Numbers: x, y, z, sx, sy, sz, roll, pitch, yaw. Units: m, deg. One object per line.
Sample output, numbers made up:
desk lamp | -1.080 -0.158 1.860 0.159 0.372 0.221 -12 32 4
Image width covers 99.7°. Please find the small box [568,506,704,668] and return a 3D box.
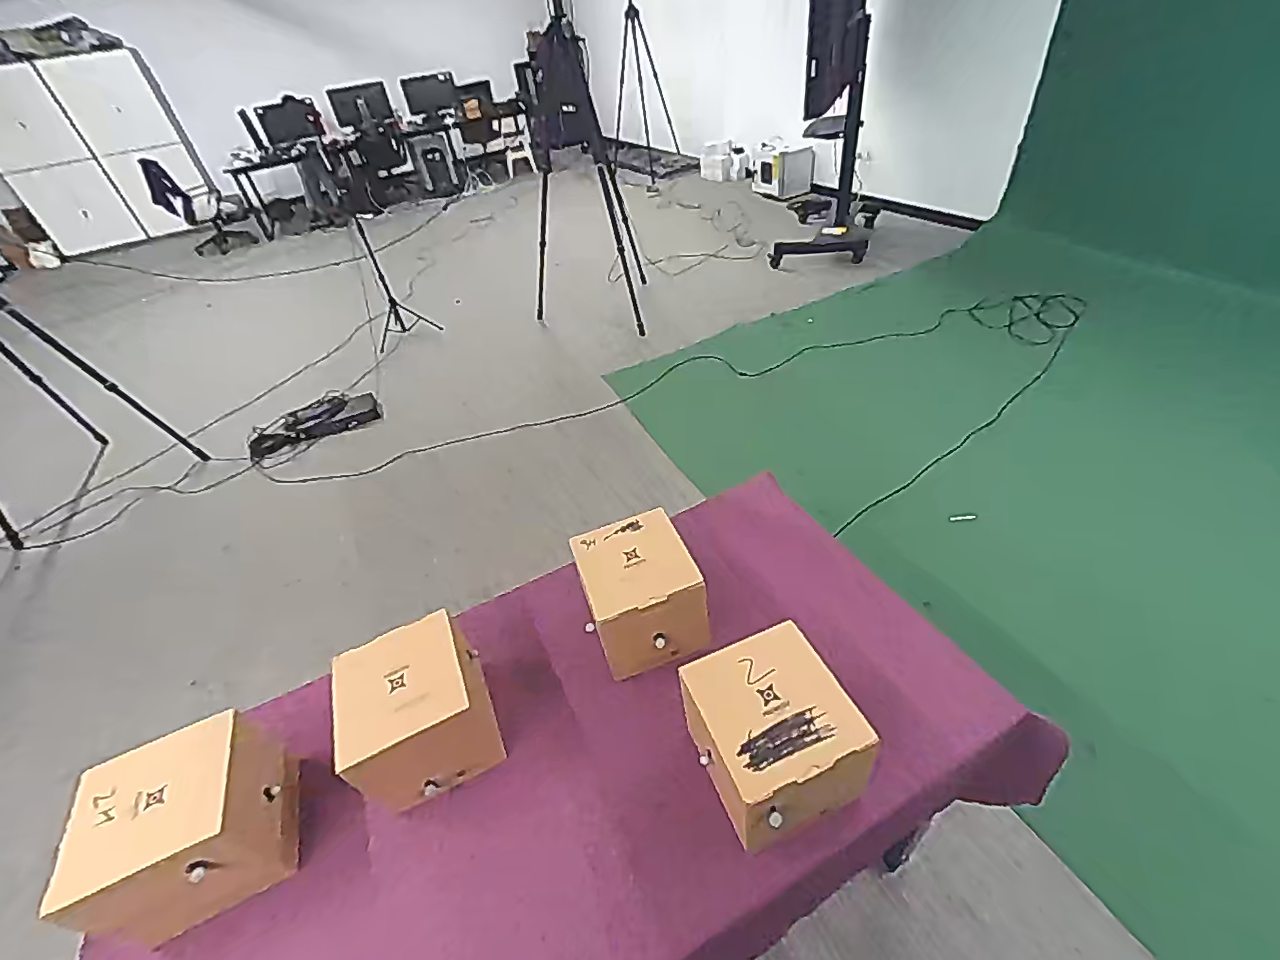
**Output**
small box | -0.003 0.179 0.878 0.168 0.176 0.179 -19 43 -10

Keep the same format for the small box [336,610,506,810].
small box | -0.311 0.328 0.777 0.168 0.176 0.179 -23 43 -14

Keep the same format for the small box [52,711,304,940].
small box | -0.563 0.442 0.697 0.179 0.176 0.168 -23 42 -14
